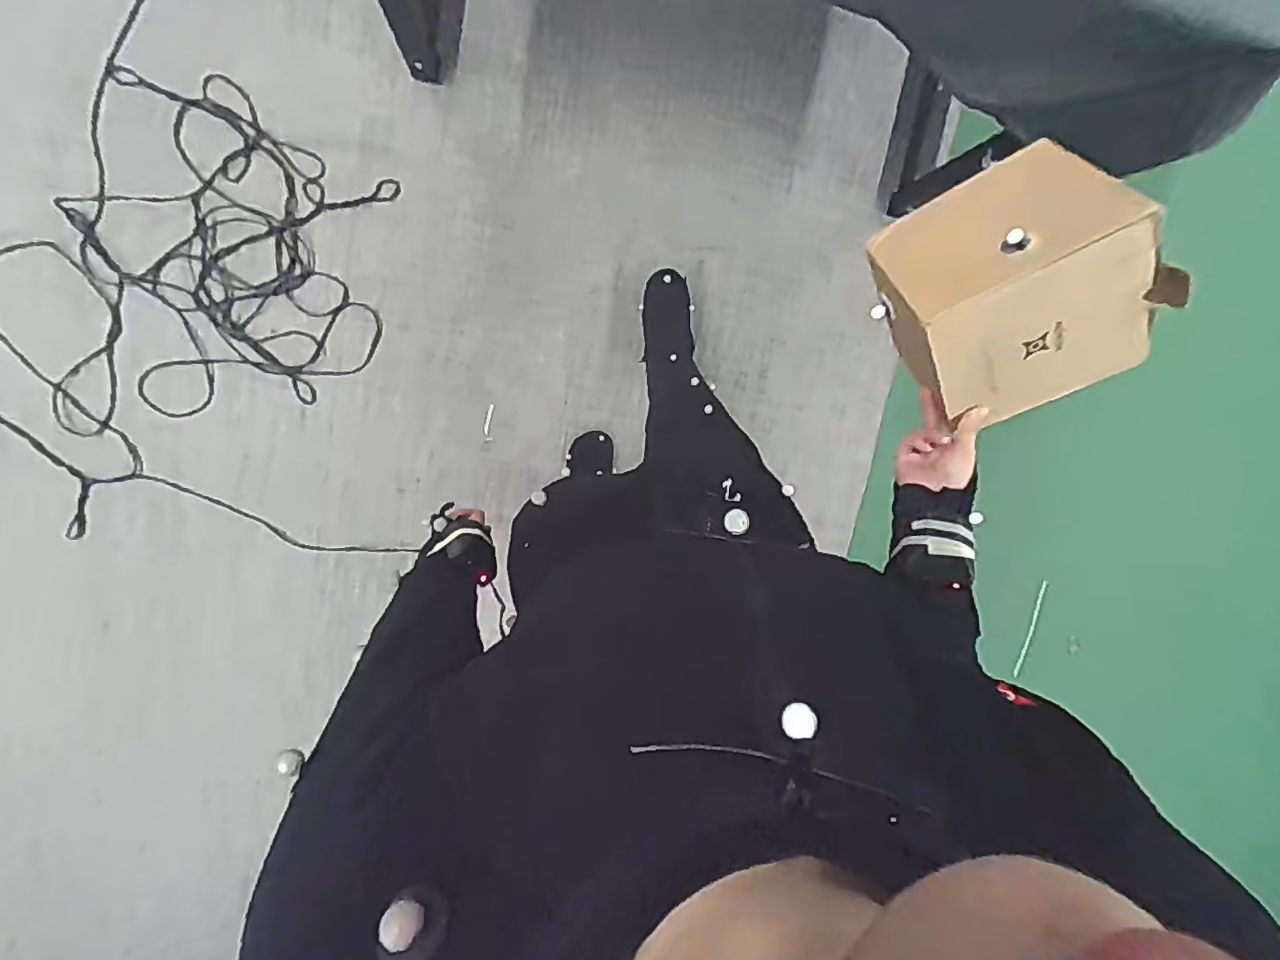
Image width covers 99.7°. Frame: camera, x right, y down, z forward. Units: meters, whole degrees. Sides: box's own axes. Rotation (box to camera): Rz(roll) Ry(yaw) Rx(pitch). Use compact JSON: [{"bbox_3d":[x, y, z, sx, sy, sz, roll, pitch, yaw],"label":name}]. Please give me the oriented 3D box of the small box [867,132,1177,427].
[{"bbox_3d":[0.350,-0.190,0.522,0.179,0.176,0.168,-26,134,23],"label":"small box"}]
